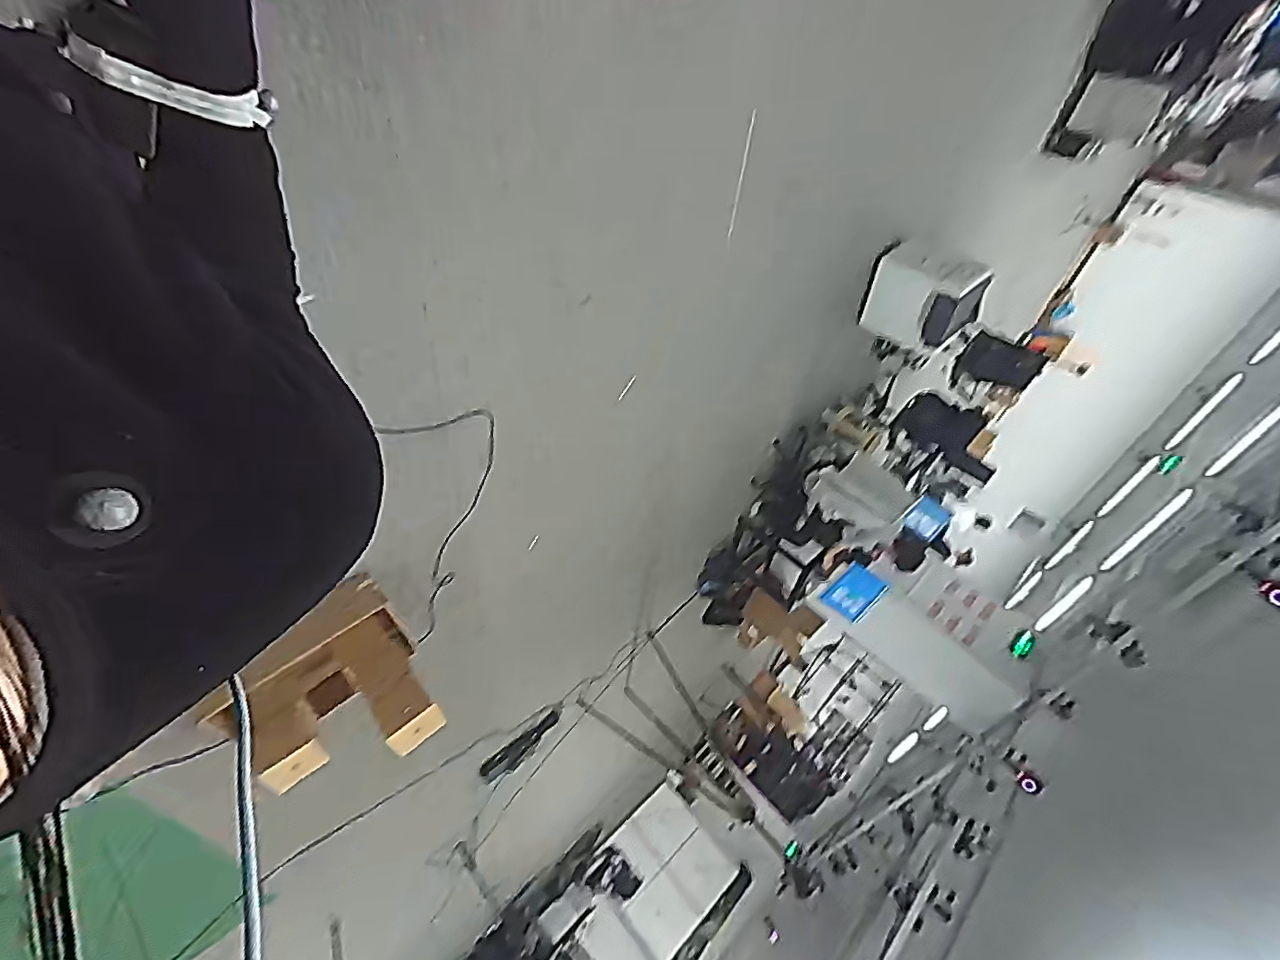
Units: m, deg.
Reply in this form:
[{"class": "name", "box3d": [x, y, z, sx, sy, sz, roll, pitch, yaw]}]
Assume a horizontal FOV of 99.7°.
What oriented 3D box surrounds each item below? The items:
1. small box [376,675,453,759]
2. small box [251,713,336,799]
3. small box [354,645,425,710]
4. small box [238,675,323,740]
[{"class": "small box", "box3d": [-0.796, 0.827, 1.893, 0.179, 0.176, 0.168, -36, 144, -27]}, {"class": "small box", "box3d": [-1.158, 0.916, 1.807, 0.168, 0.176, 0.179, -32, 145, -30]}, {"class": "small box", "box3d": [-0.906, 0.743, 1.977, 0.179, 0.176, 0.168, -32, 142, -30]}, {"class": "small box", "box3d": [-1.261, 0.823, 1.899, 0.179, 0.176, 0.168, -33, 145, -31]}]
